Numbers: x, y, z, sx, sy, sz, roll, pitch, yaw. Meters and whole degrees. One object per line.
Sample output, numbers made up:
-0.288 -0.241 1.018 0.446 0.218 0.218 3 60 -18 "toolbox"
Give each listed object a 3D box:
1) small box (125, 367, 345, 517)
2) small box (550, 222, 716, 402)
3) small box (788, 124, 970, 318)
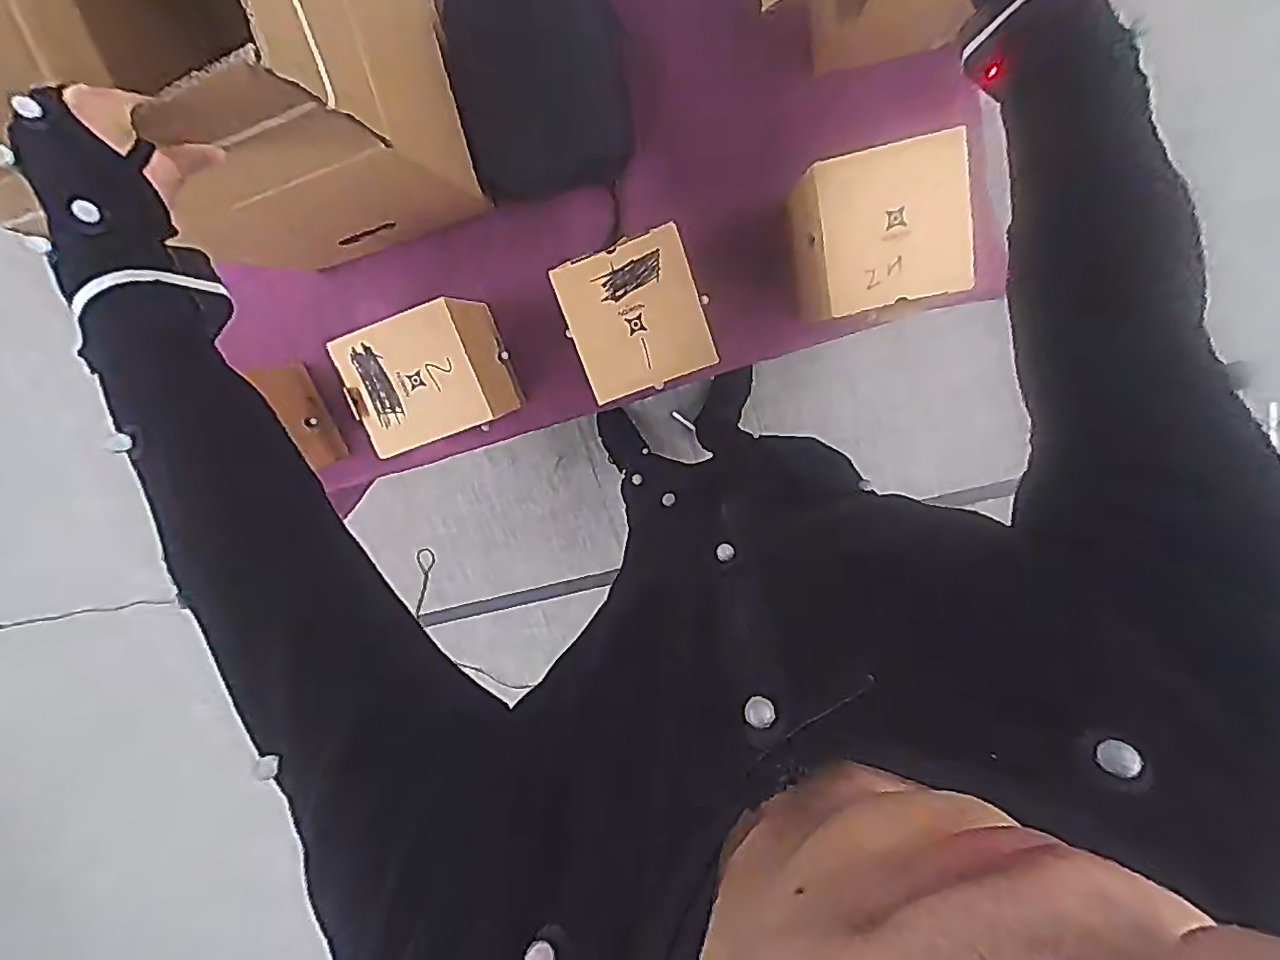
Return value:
-0.604 -0.065 0.832 0.179 0.176 0.168 -20 103 8 "small box"
-0.003 -0.223 0.744 0.168 0.176 0.179 -18 104 9 "small box"
0.294 -0.314 0.695 0.168 0.176 0.179 -10 104 8 "small box"
